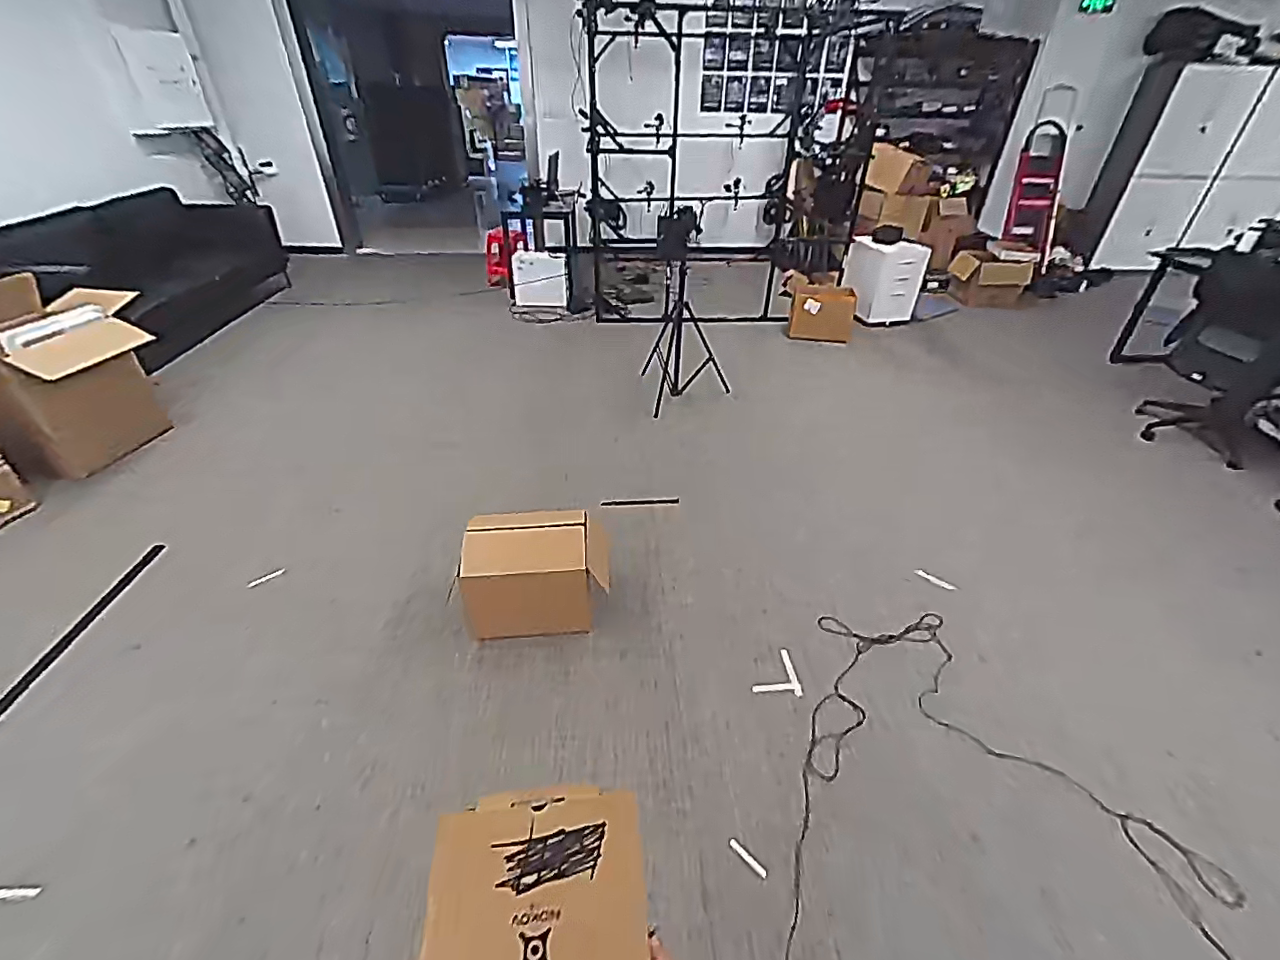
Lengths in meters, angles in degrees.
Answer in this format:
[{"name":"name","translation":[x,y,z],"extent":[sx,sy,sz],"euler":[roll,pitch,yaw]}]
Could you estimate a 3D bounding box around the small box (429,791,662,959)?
[{"name":"small box","translation":[-0.069,0.384,0.446],"extent":[0.168,0.176,0.179],"euler":[-5,47,-5]}]
